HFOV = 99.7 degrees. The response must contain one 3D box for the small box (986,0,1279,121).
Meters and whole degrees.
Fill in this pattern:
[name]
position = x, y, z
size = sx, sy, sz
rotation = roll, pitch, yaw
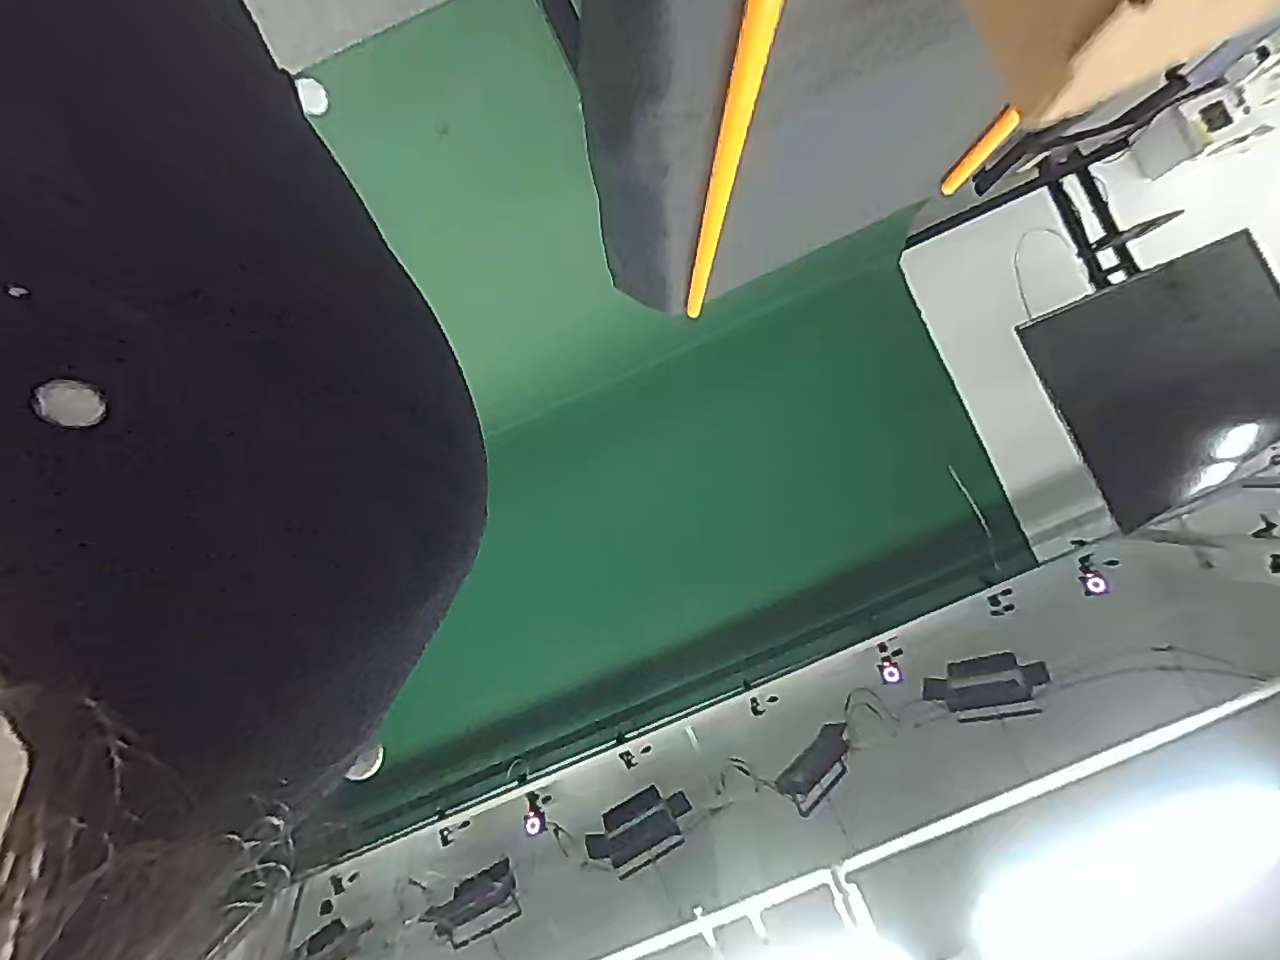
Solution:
[small box]
position = 0.328, -0.375, 0.317
size = 0.179, 0.176, 0.168
rotation = -26, 176, 5
